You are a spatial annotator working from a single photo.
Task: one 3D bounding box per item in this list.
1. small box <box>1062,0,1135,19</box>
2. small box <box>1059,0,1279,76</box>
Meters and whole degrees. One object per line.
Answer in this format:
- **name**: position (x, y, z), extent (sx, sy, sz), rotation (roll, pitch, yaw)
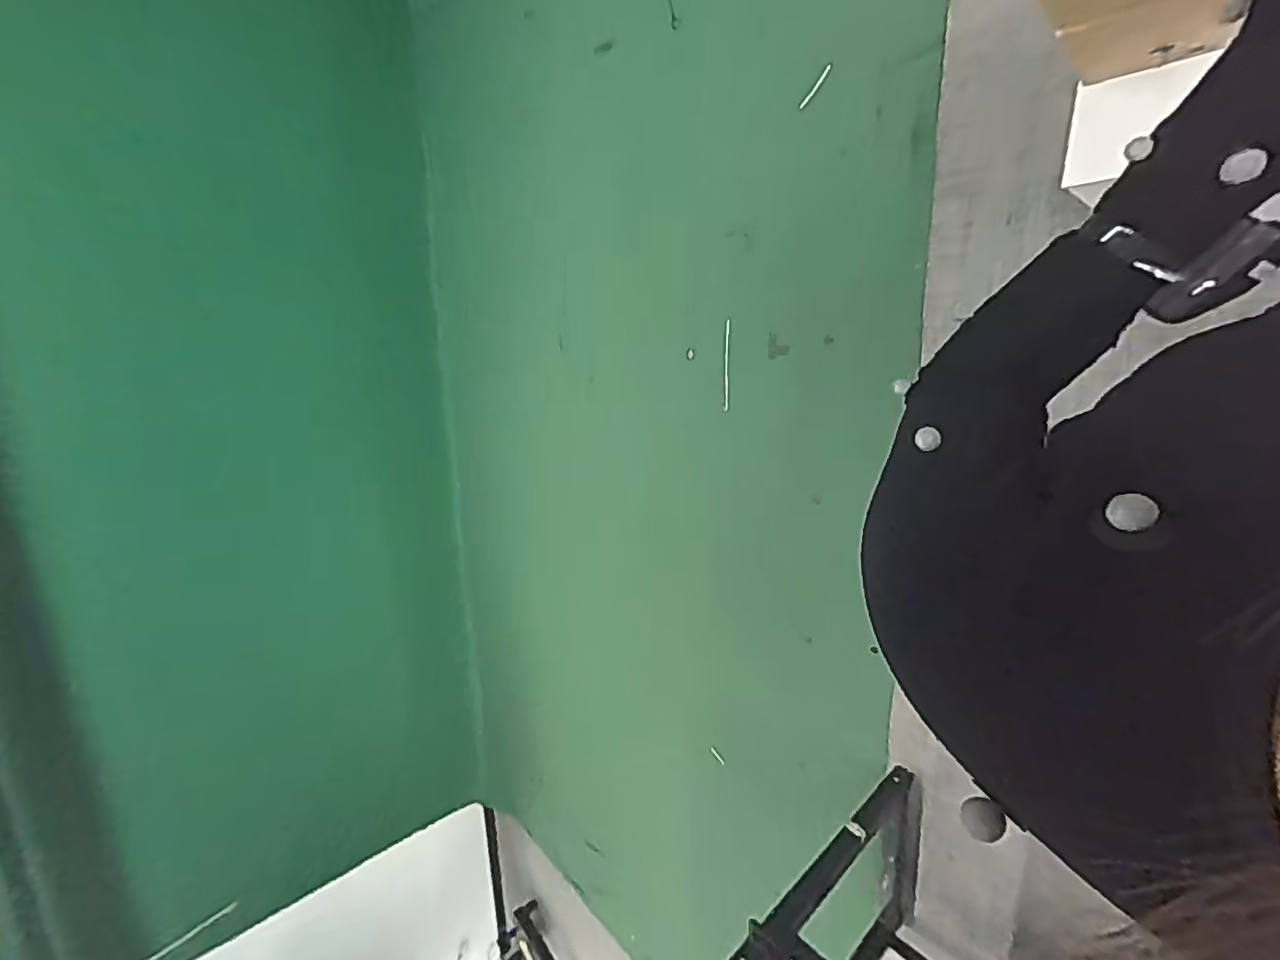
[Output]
- **small box**: position (0.439, -0.533, 0.437), extent (0.168, 0.176, 0.179), rotation (16, 111, 46)
- **small box**: position (0.557, -0.557, 0.547), extent (0.168, 0.176, 0.179), rotation (14, 111, 46)
